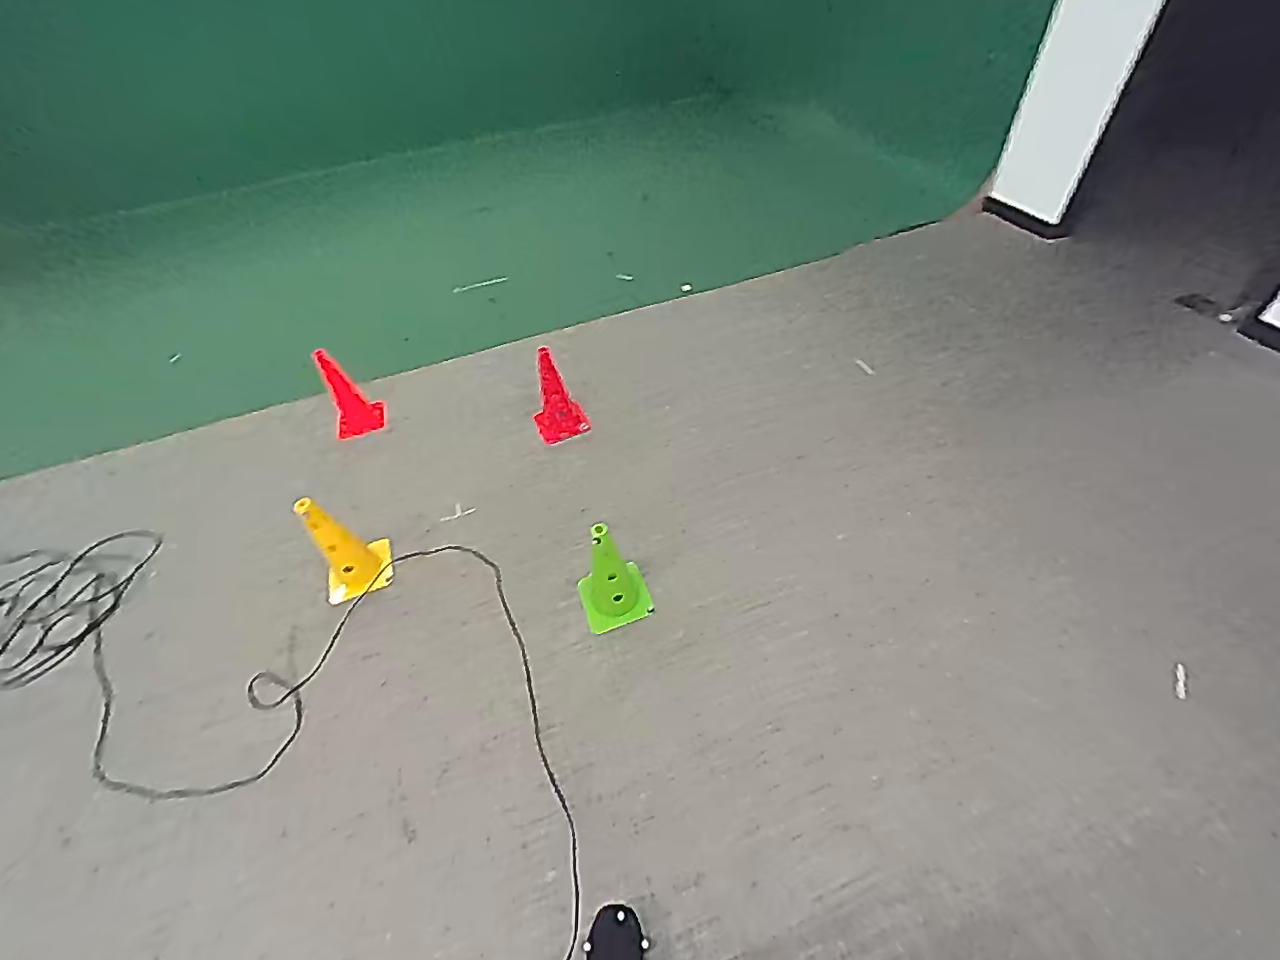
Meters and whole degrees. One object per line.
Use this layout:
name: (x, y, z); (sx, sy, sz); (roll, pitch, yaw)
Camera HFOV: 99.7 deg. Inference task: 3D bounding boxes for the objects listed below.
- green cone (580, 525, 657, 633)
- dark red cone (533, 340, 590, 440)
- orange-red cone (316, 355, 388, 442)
green cone: (-0.088, 0.245, 1.539); (0.202, 0.368, 0.200); (-20, 49, -9)
dark red cone: (-0.337, -0.360, 2.078); (0.202, 0.394, 0.201); (-22, 48, -12)
orange-red cone: (-1.217, -0.361, 2.227); (0.198, 0.360, 0.199); (-19, 50, -8)
